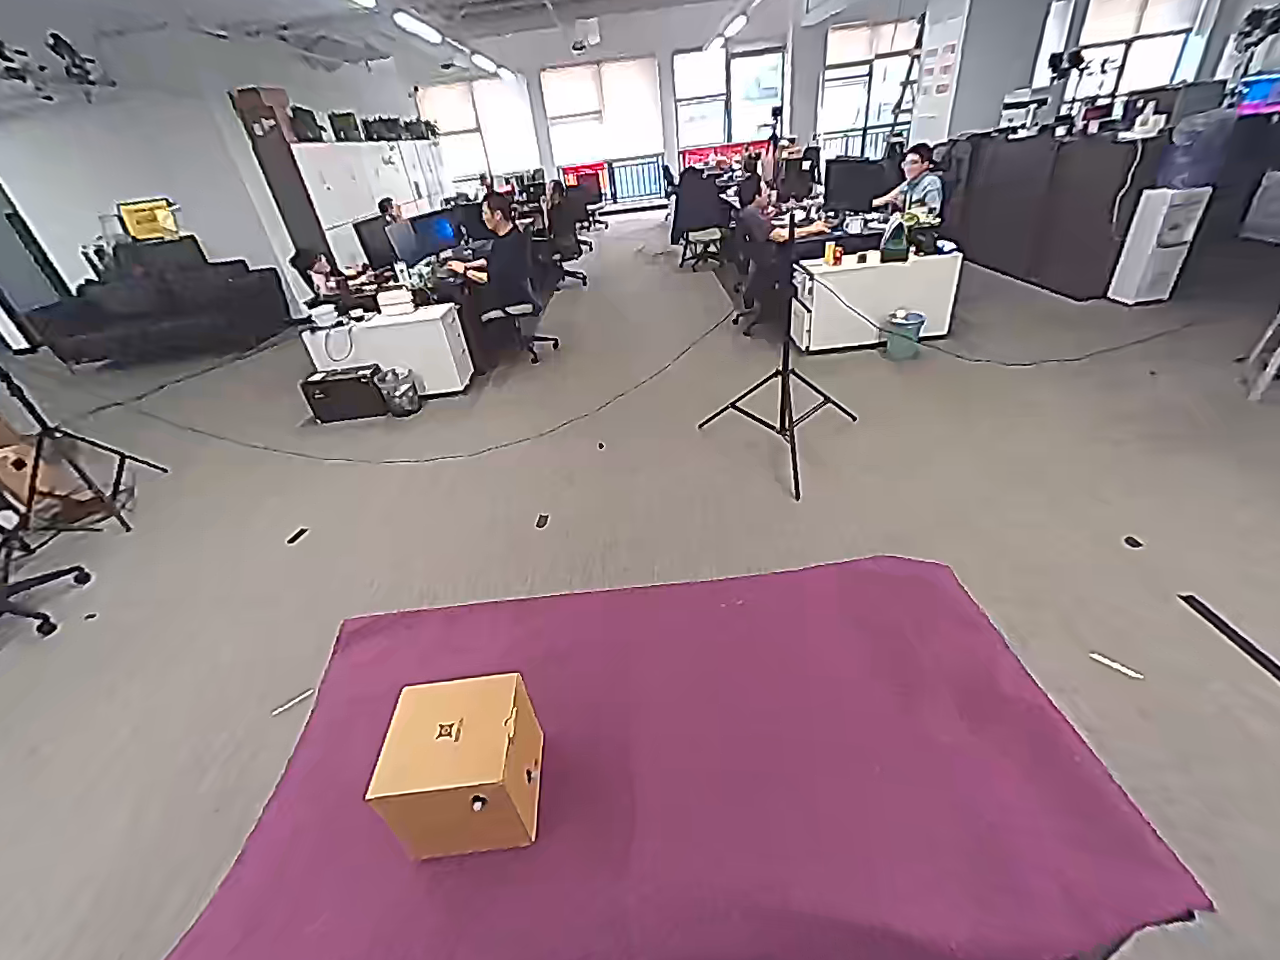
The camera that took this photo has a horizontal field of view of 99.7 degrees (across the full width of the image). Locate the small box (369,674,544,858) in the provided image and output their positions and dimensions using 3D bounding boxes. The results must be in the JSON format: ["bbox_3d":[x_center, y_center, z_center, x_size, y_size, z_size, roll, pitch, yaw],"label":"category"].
[{"bbox_3d":[-0.246,0.409,0.774,0.179,0.176,0.168,-7,32,-1],"label":"small box"}]
